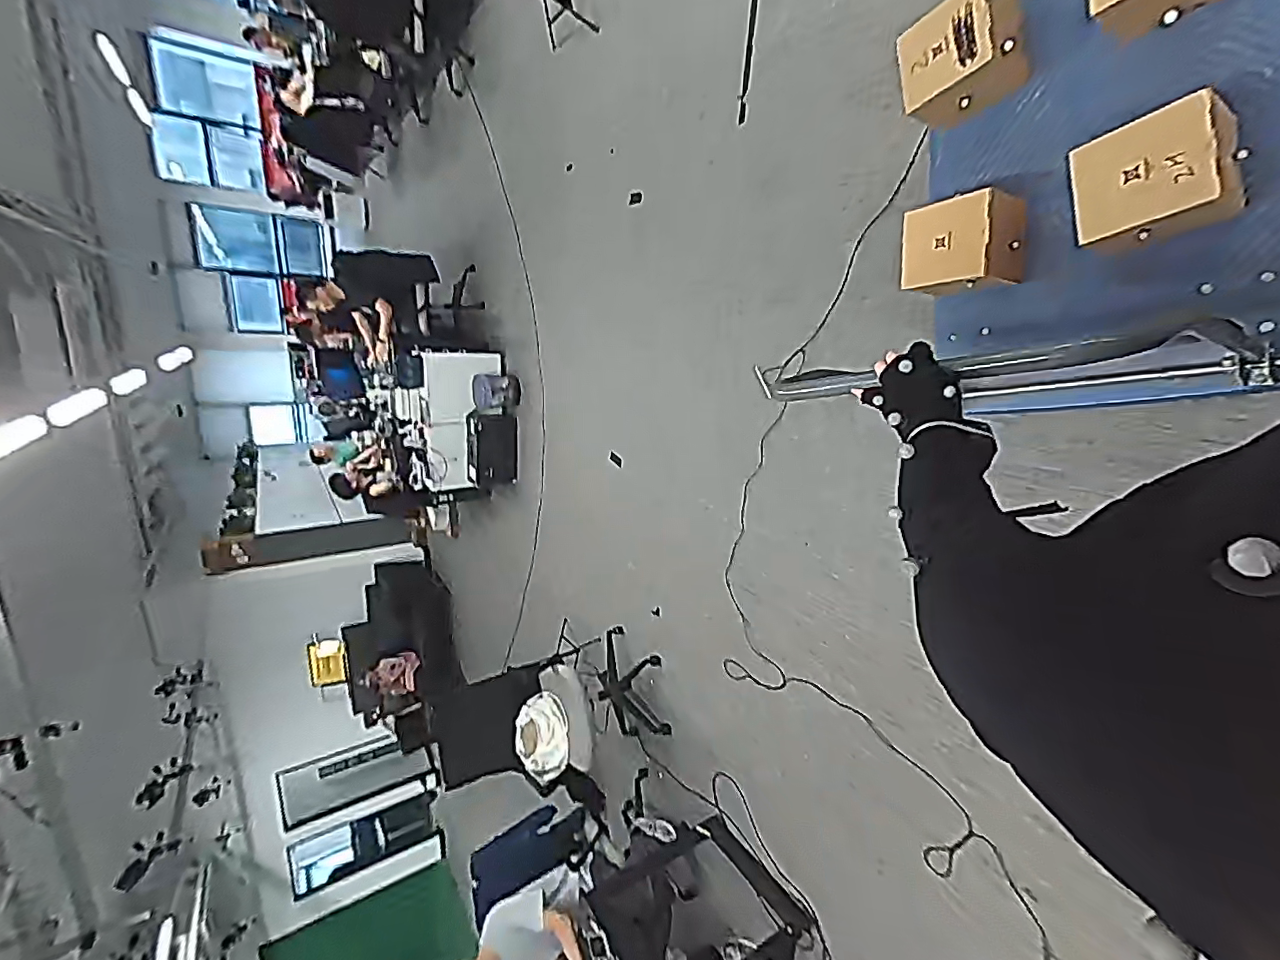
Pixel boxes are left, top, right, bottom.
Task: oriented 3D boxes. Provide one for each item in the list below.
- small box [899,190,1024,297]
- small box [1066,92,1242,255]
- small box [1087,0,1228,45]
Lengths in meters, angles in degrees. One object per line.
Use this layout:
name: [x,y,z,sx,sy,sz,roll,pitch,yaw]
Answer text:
small box: [0.692,-0.498,1.169,0.179,0.176,0.168,10,104,53]
small box: [0.863,-0.497,0.912,0.179,0.176,0.168,-6,92,57]
small box: [0.847,-0.855,0.864,0.168,0.176,0.179,4,101,56]
